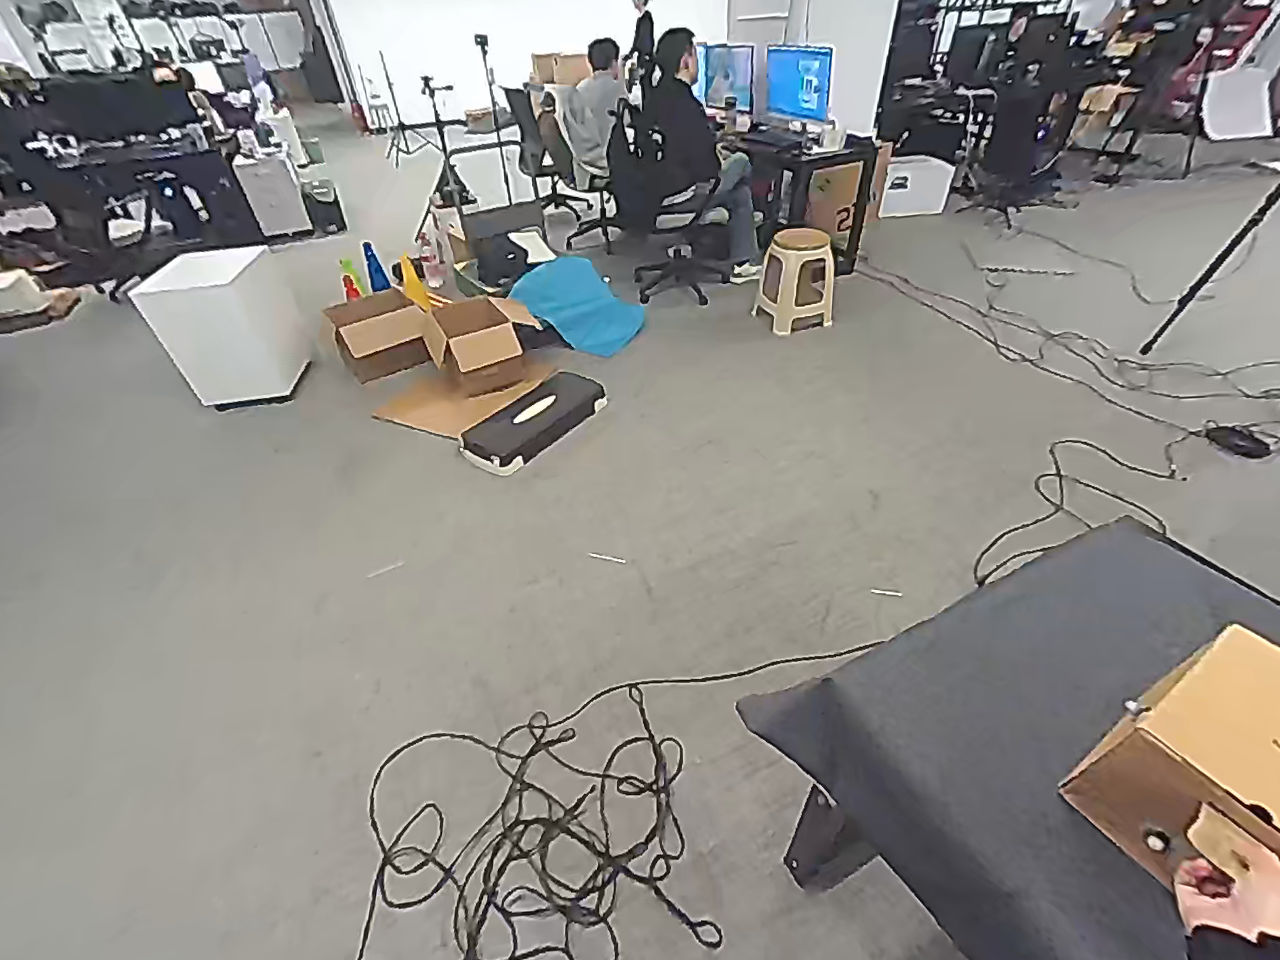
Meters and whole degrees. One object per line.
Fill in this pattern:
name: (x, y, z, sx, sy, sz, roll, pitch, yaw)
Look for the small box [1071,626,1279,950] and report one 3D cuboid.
small box: (0.550, 0.276, 0.493, 0.179, 0.176, 0.168, -28, 47, -19)
